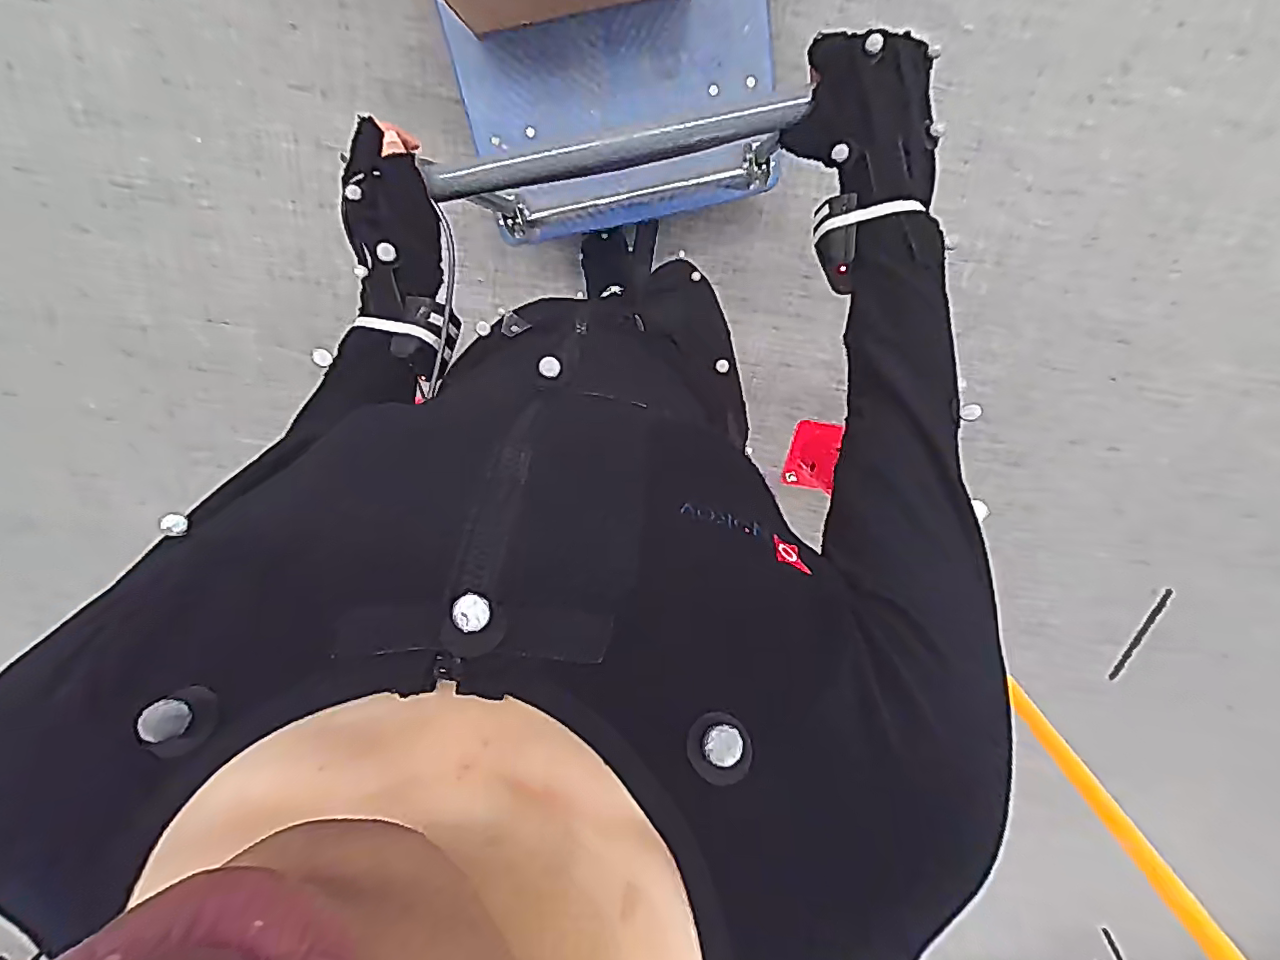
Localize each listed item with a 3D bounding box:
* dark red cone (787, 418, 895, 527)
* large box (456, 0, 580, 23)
[{"bbox_3d":[0.526,0.003,1.346,0.201,0.394,0.202,6,116,-6],"label":"dark red cone"},{"bbox_3d":[-0.122,-0.909,0.753,0.408,0.320,0.320,-9,116,5],"label":"large box"}]
